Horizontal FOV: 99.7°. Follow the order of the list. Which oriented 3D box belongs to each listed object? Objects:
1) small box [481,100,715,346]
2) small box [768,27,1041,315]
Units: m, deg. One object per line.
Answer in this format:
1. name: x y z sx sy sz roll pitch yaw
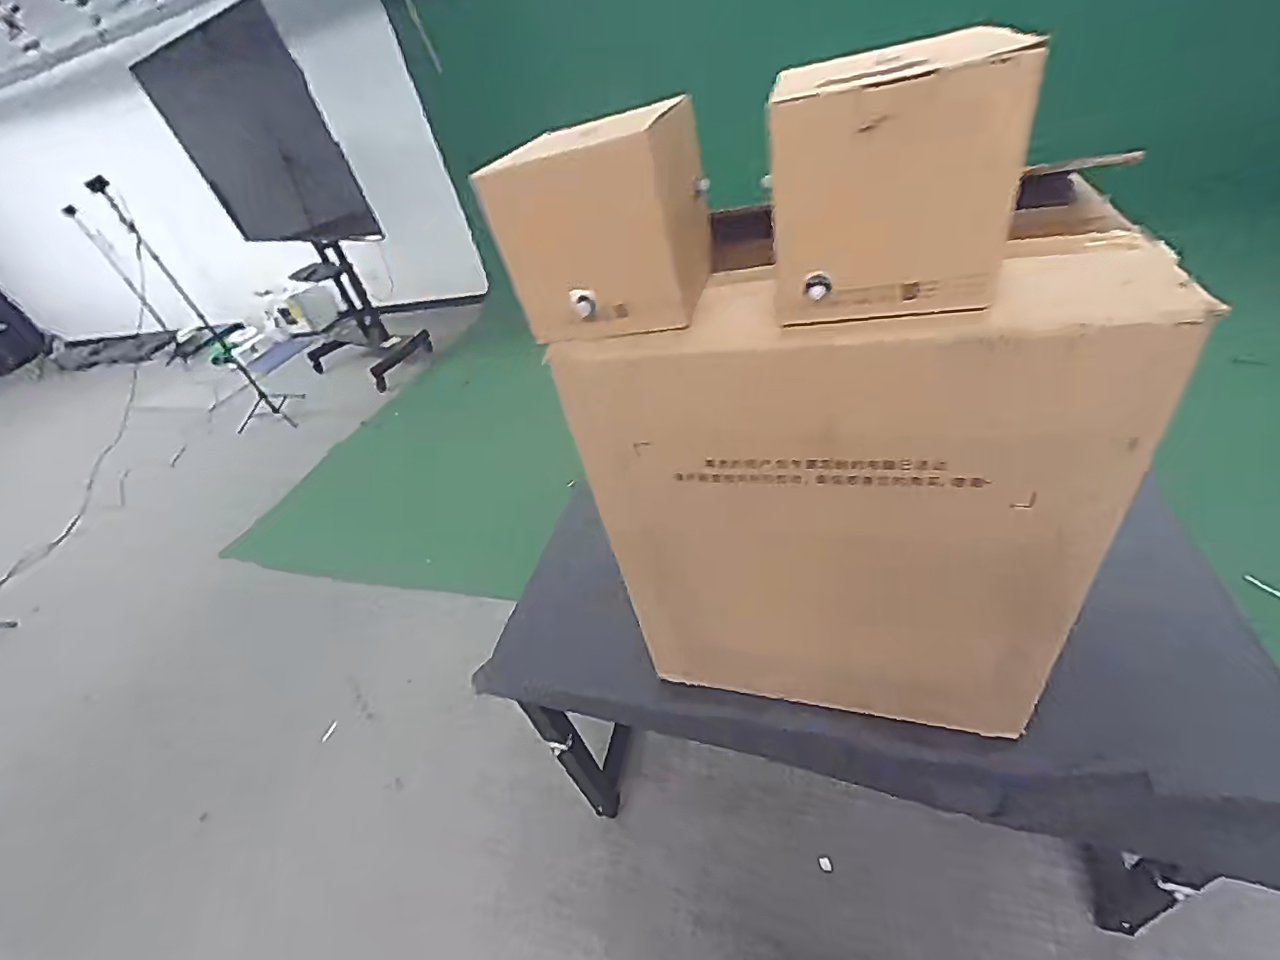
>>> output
1. small box: -0.024 -0.257 0.553 0.168 0.176 0.179 -2 42 21
2. small box: 0.205 -0.250 0.458 0.168 0.176 0.179 1 41 19
